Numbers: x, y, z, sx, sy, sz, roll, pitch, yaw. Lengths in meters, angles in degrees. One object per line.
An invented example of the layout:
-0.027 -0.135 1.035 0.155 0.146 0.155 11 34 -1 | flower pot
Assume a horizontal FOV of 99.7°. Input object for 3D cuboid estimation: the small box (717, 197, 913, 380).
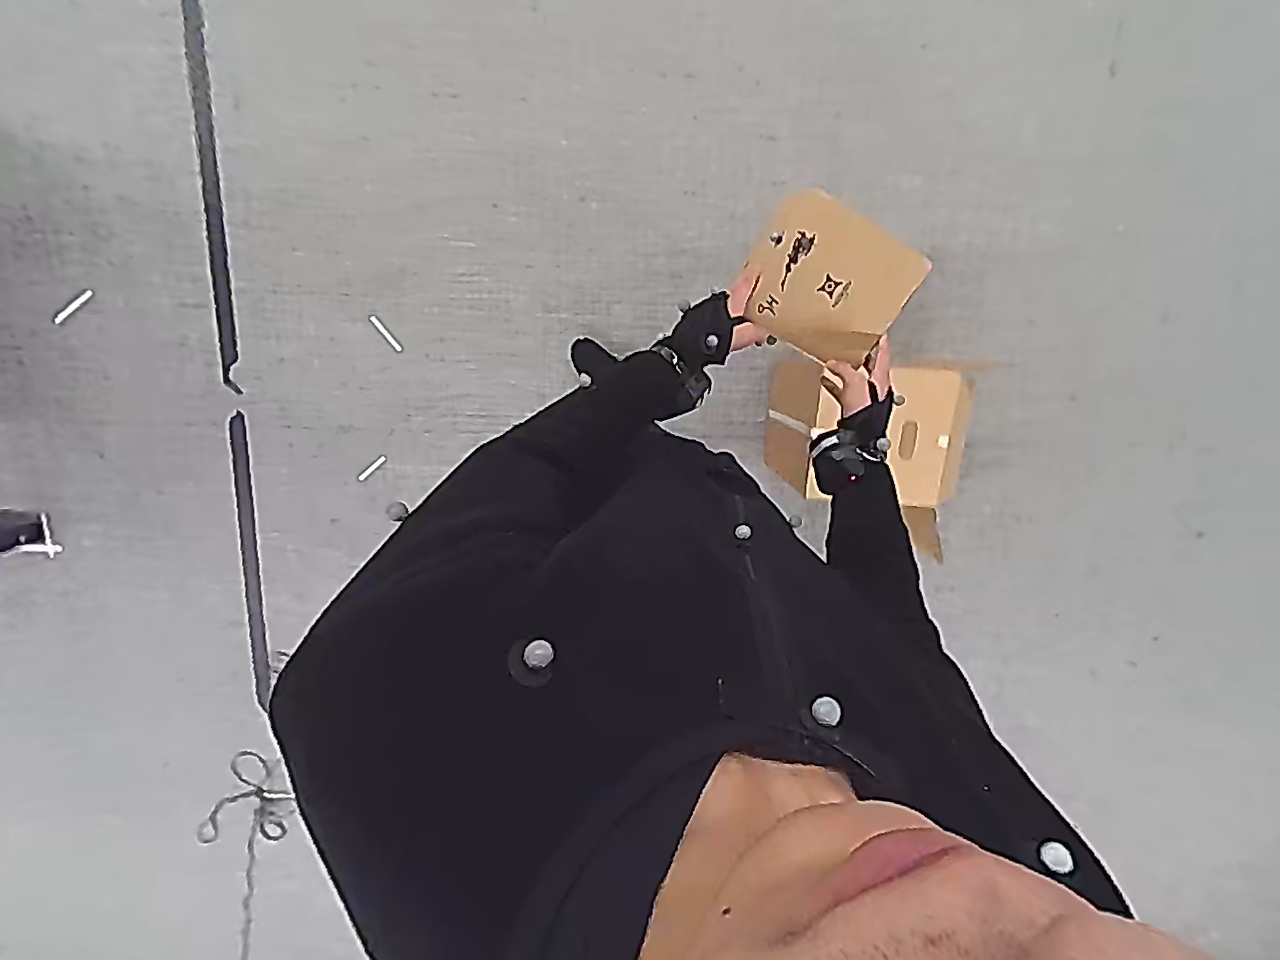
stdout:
0.227 -0.269 0.753 0.179 0.176 0.168 26 112 -11 | small box
